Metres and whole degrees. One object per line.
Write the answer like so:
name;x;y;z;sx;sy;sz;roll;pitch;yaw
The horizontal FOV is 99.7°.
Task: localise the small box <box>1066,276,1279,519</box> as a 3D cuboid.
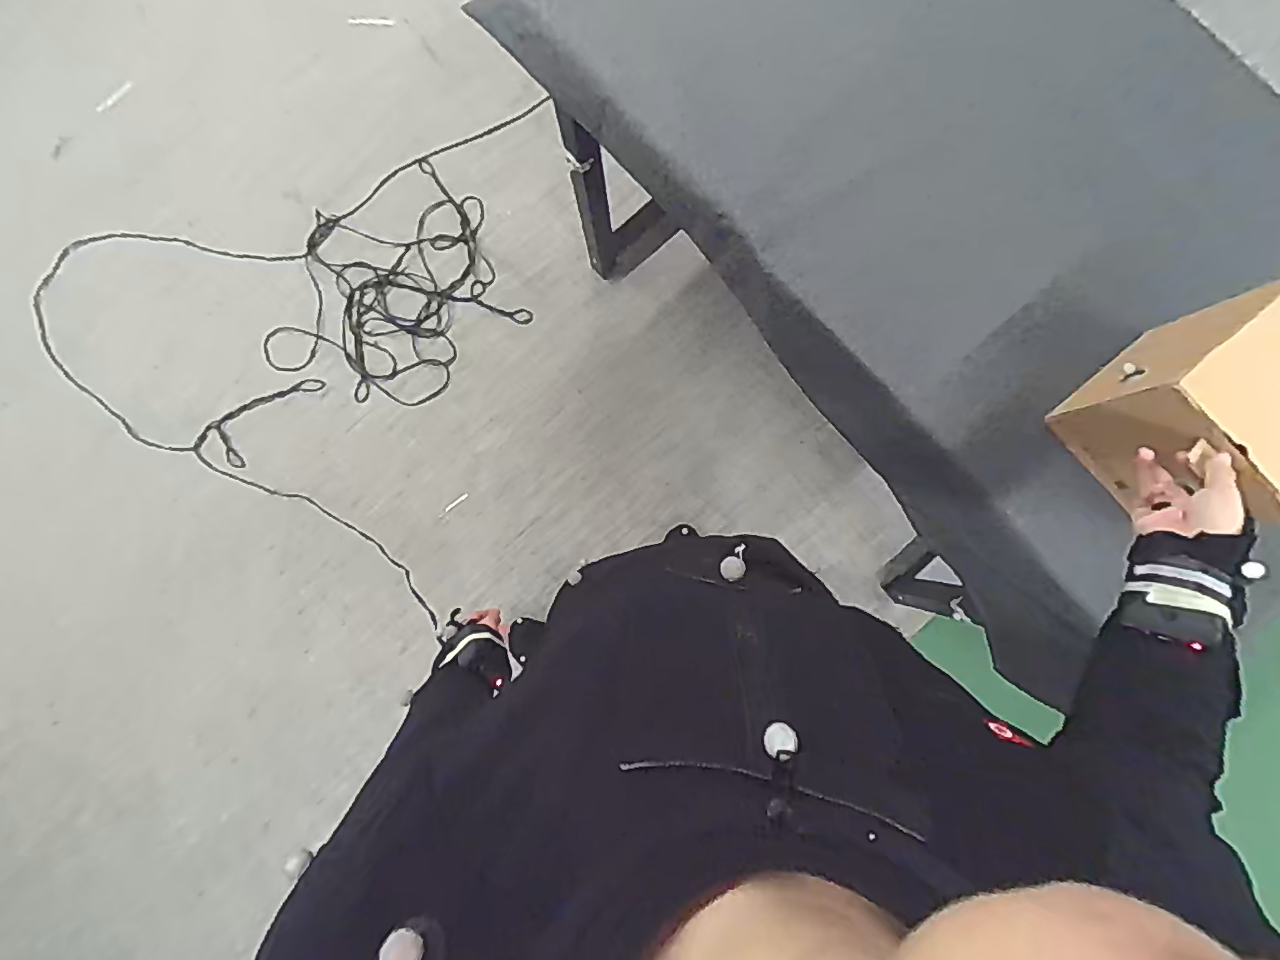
small box;0.591;-0.072;0.549;0.179;0.176;0.168;-40;86;-4
